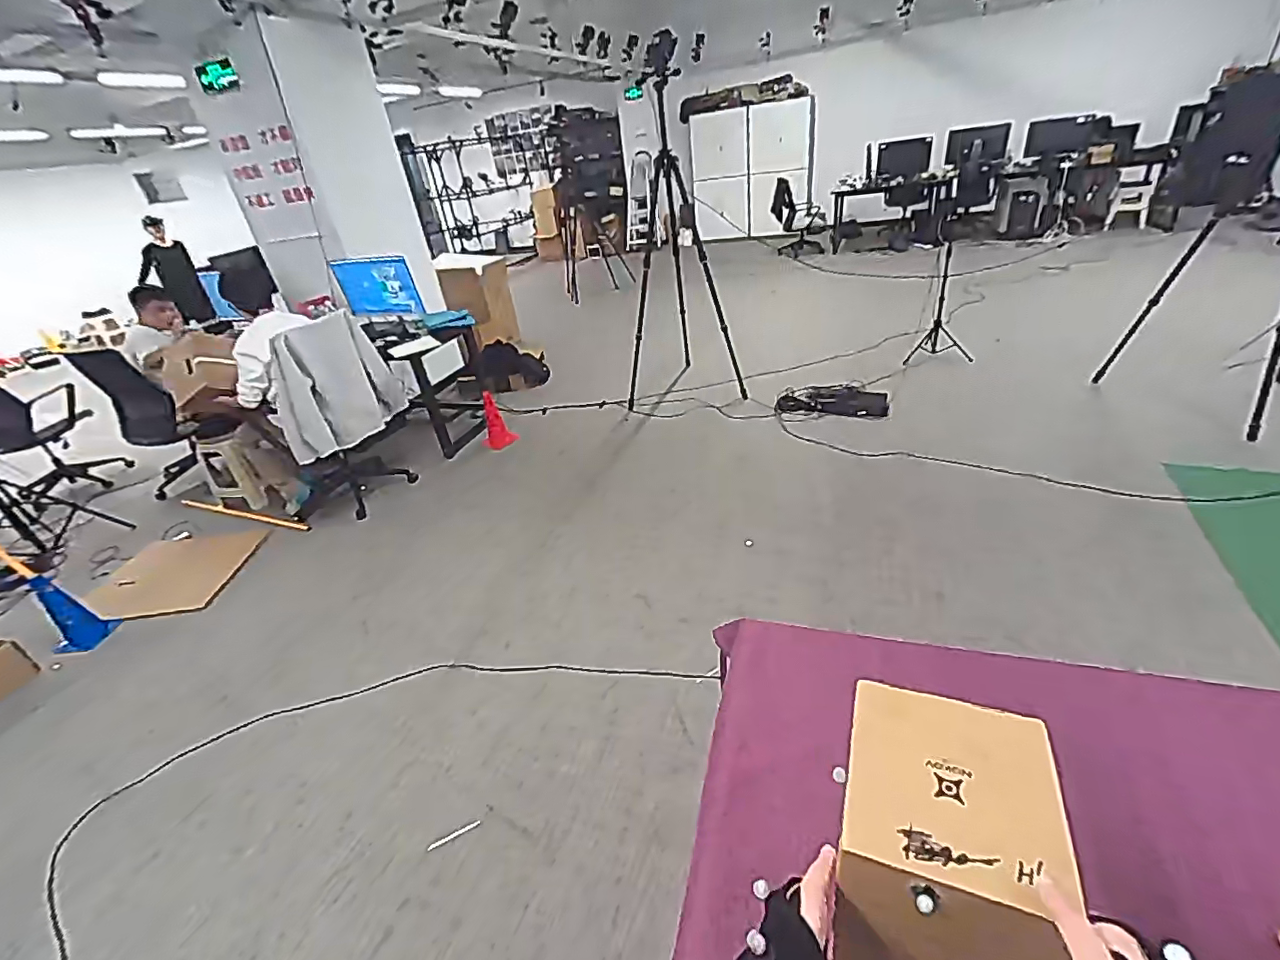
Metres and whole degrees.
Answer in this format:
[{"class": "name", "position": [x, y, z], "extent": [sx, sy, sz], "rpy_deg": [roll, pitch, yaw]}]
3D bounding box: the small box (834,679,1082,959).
[{"class": "small box", "position": [0.280, 0.329, 0.513], "extent": [0.168, 0.176, 0.179], "rpy_deg": [4, 32, 25]}]
